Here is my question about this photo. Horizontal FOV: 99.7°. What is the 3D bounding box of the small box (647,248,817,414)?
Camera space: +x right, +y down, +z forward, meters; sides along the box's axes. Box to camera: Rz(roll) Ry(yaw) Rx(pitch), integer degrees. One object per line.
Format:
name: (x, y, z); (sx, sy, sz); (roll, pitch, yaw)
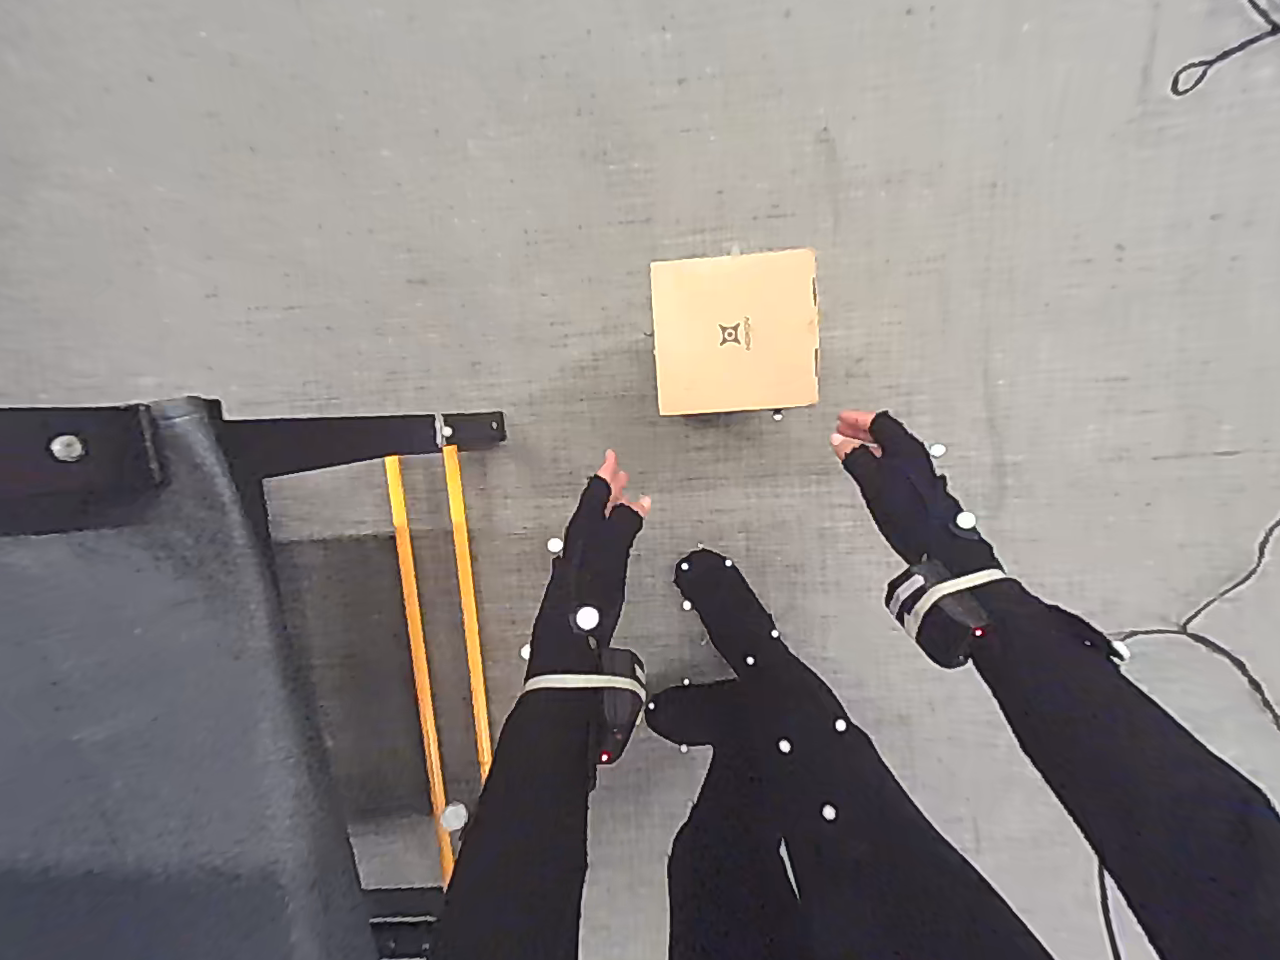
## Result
small box: (0.105, -0.166, 0.654); (0.179, 0.176, 0.168); (-3, 99, 5)
